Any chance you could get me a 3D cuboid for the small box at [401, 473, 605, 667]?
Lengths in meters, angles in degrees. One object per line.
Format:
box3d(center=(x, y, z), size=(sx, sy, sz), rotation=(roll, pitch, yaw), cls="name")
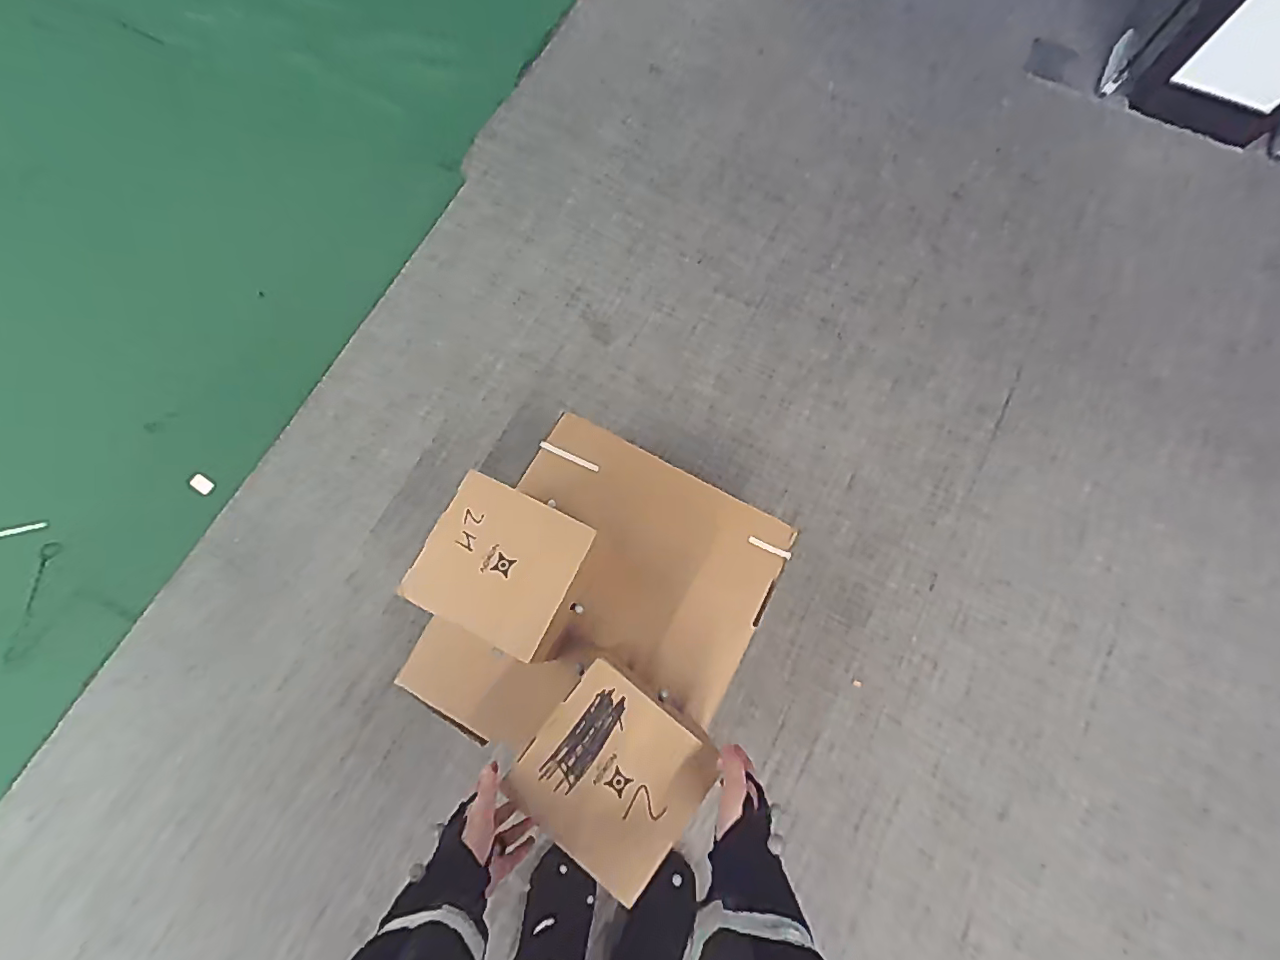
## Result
box3d(center=(-0.156, 0.118, 0.691), size=(0.179, 0.176, 0.168), rotation=(26, 75, 8), cls="small box")
